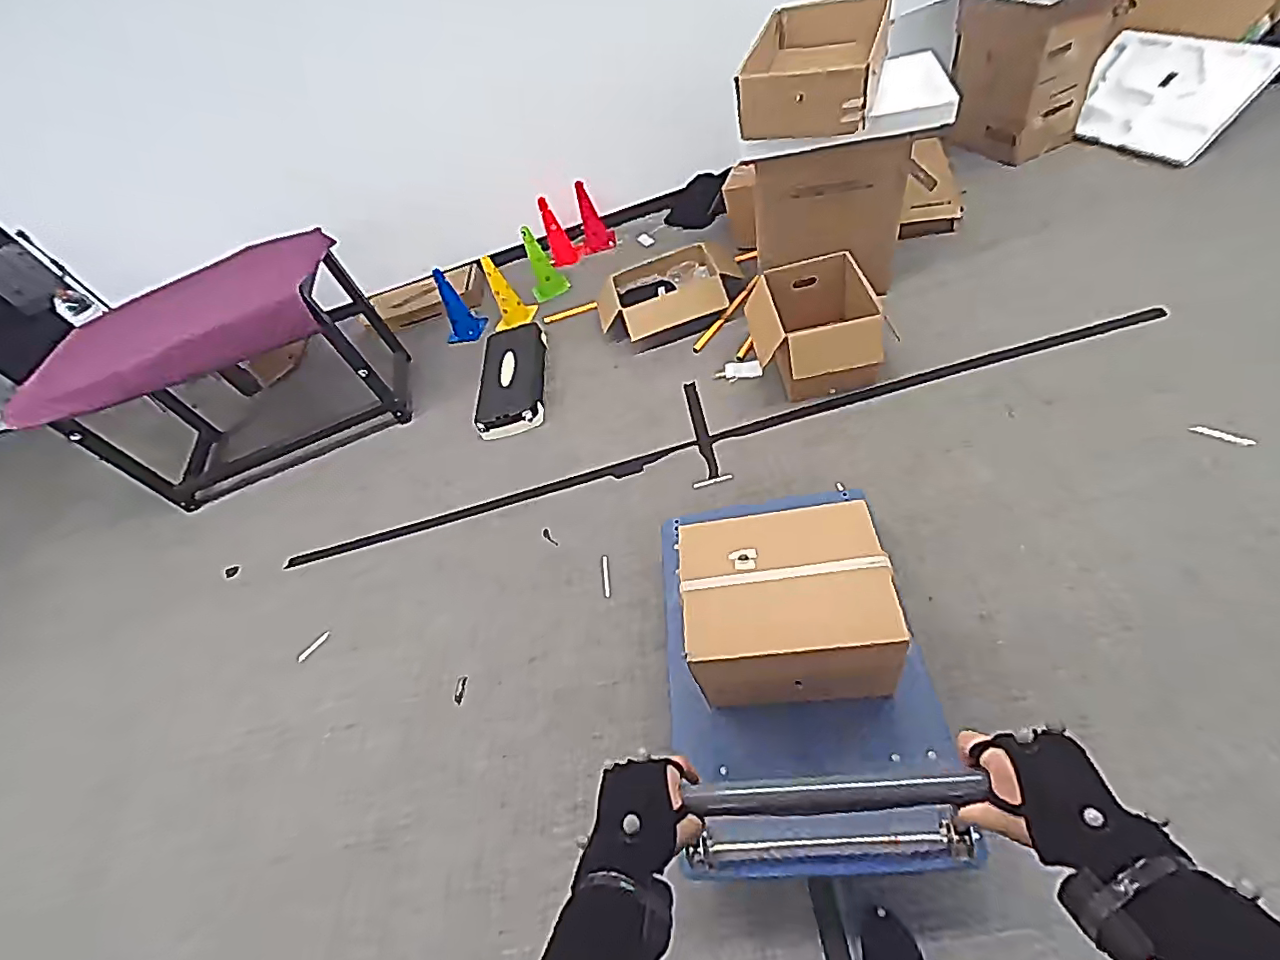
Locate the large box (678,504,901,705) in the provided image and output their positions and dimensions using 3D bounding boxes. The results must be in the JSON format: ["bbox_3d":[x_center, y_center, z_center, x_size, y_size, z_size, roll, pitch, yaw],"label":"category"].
[{"bbox_3d":[0.321,0.294,1.220,0.408,0.320,0.320,-11,49,12],"label":"large box"}]
